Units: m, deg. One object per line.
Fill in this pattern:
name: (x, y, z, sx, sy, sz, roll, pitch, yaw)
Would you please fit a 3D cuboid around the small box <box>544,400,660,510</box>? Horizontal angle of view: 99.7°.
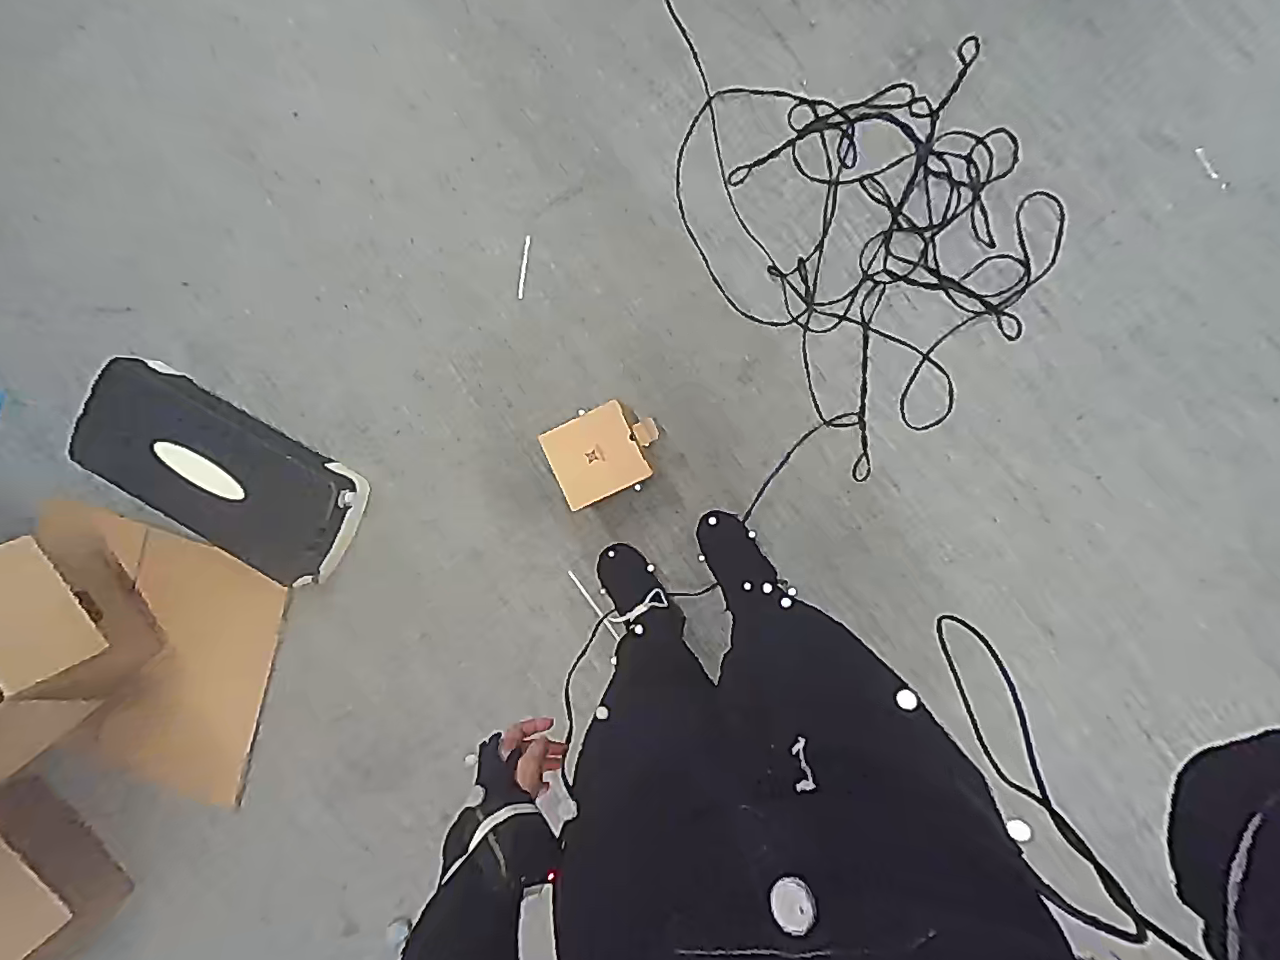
small box: (-0.071, -0.048, 1.127, 0.179, 0.176, 0.168, -25, 88, 5)
